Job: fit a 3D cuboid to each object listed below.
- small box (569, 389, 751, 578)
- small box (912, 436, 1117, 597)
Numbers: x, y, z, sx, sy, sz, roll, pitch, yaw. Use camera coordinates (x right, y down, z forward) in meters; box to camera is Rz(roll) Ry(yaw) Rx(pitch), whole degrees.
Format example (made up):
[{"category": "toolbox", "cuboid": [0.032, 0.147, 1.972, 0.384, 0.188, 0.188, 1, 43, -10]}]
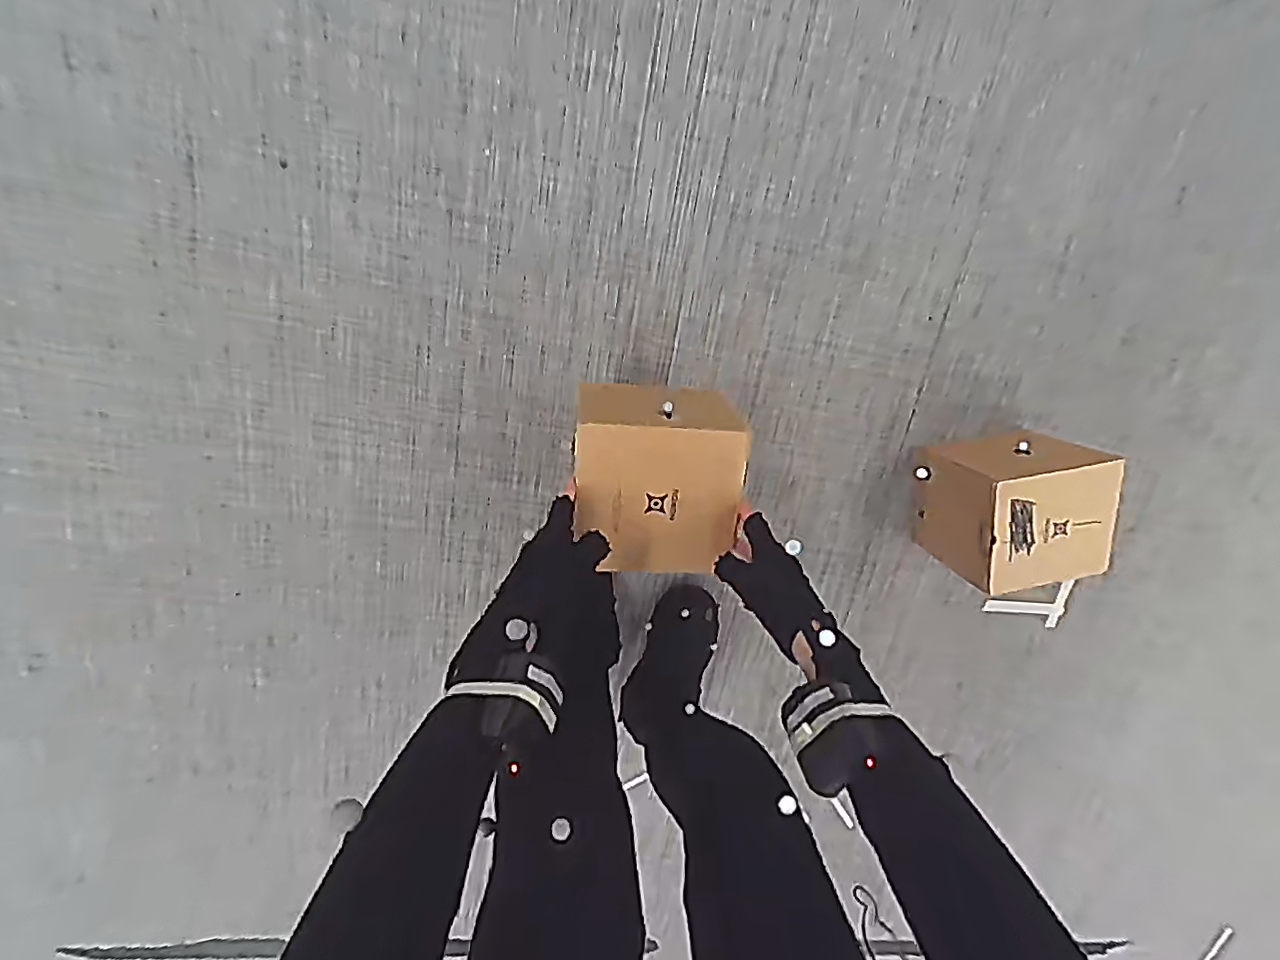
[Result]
[{"category": "small box", "cuboid": [0.010, -0.003, 0.624, 0.179, 0.176, 0.168, 2, 113, -6]}, {"category": "small box", "cuboid": [0.518, 0.044, 0.777, 0.179, 0.176, 0.168, -10, 109, -4]}]
